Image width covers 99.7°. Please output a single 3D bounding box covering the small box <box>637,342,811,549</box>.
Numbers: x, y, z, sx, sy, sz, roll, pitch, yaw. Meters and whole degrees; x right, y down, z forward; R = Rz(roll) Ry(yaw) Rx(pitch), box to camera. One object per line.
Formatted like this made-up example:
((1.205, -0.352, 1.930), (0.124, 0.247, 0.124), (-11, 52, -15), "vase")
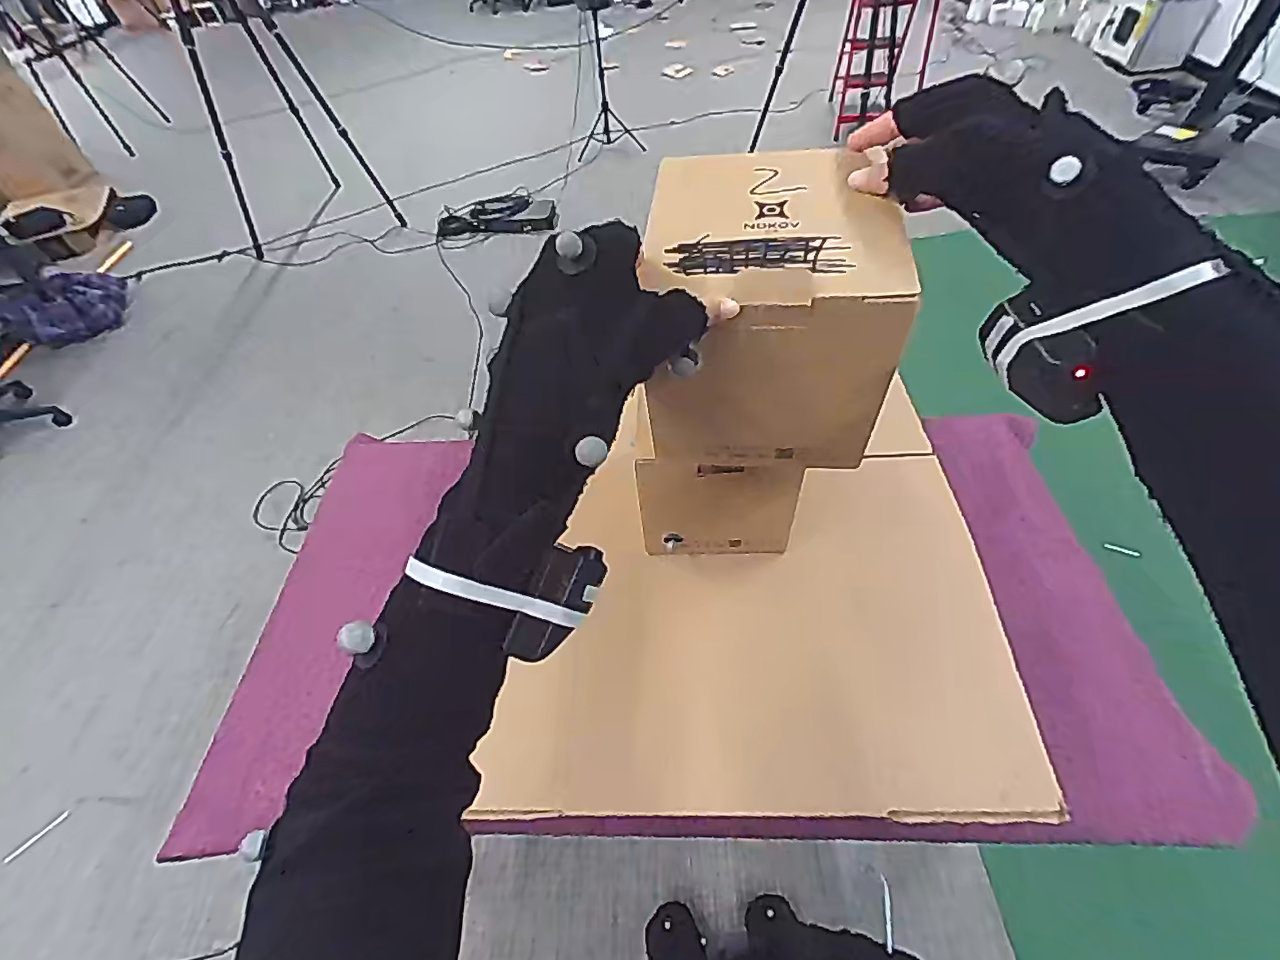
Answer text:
((0.086, -0.031, 0.621), (0.168, 0.176, 0.179), (-4, 52, 2), "small box")
